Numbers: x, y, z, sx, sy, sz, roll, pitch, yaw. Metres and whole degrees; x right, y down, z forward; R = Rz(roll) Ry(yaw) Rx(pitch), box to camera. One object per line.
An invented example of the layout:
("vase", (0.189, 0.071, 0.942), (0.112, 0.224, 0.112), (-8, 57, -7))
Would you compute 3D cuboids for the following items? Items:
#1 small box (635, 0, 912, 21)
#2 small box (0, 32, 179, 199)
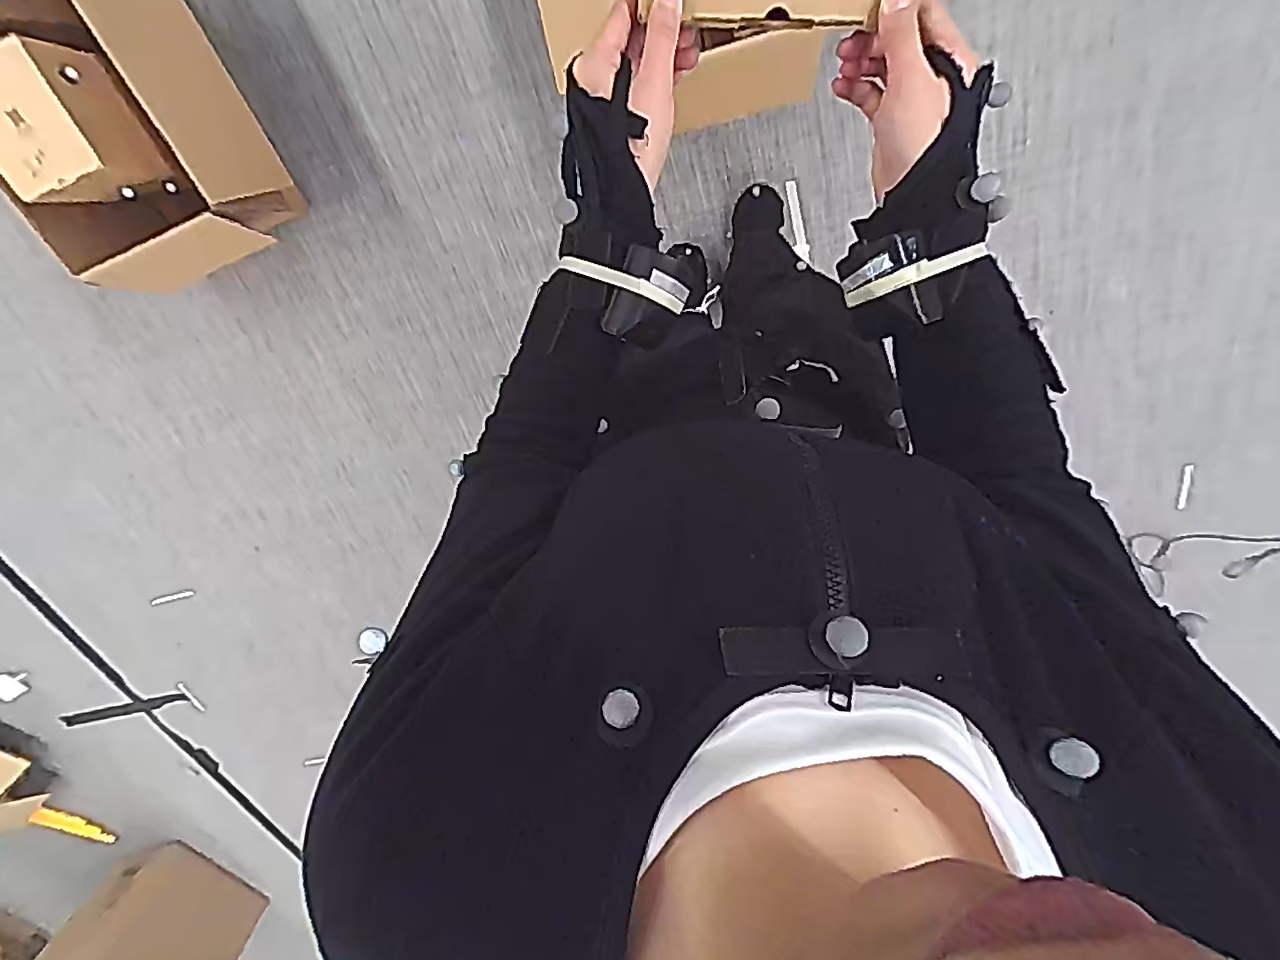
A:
("small box", (0.082, -0.394, 0.326), (0.168, 0.176, 0.179), (1, 129, 0))
("small box", (-0.935, -0.580, 0.889), (0.168, 0.176, 0.179), (-15, 116, 9))
